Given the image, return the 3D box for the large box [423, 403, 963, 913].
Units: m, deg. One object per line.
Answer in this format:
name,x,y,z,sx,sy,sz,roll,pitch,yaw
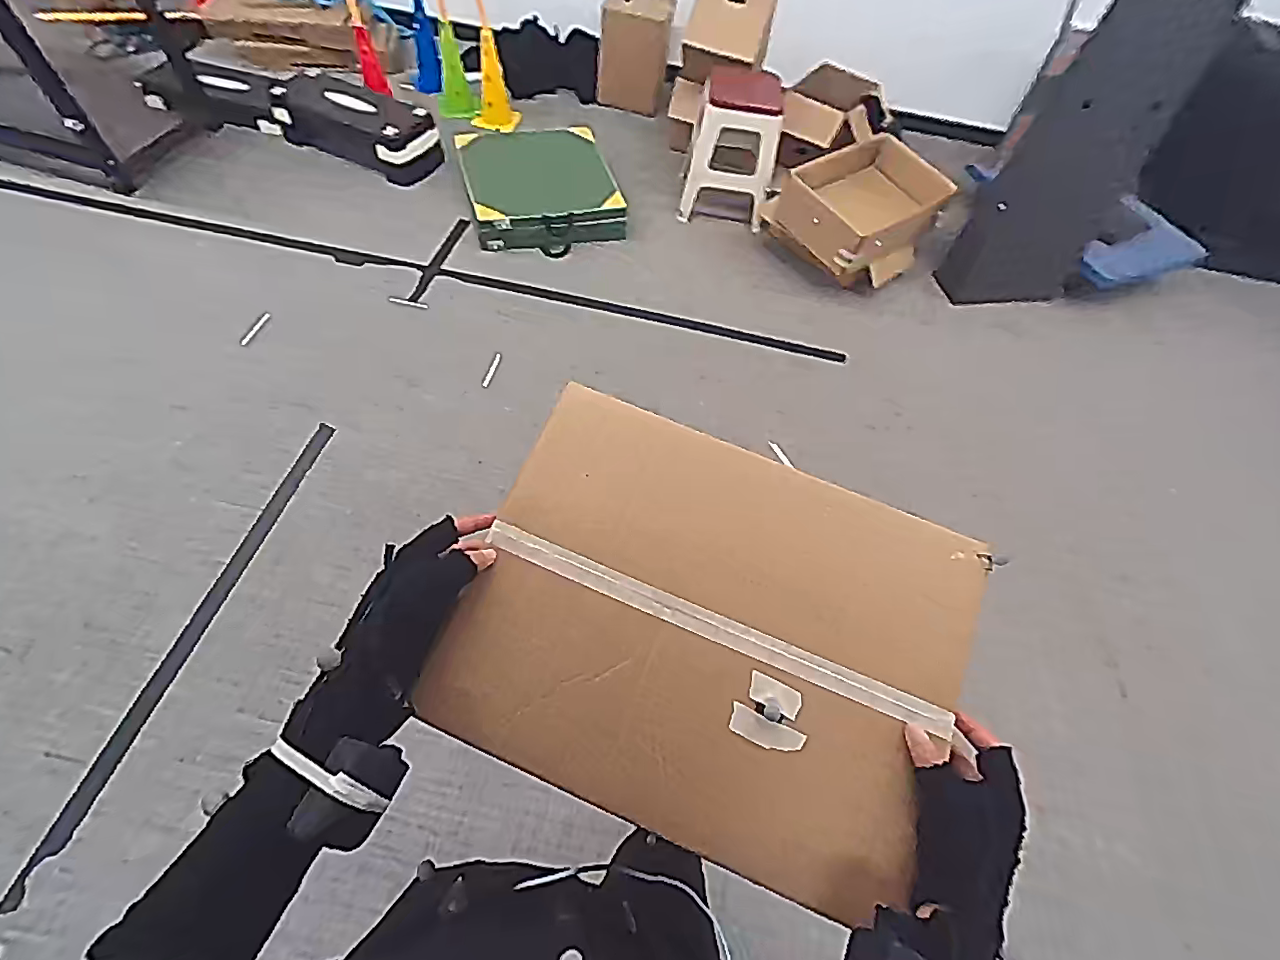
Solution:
large box,0.053,0.171,0.611,0.408,0.320,0.320,22,74,6
